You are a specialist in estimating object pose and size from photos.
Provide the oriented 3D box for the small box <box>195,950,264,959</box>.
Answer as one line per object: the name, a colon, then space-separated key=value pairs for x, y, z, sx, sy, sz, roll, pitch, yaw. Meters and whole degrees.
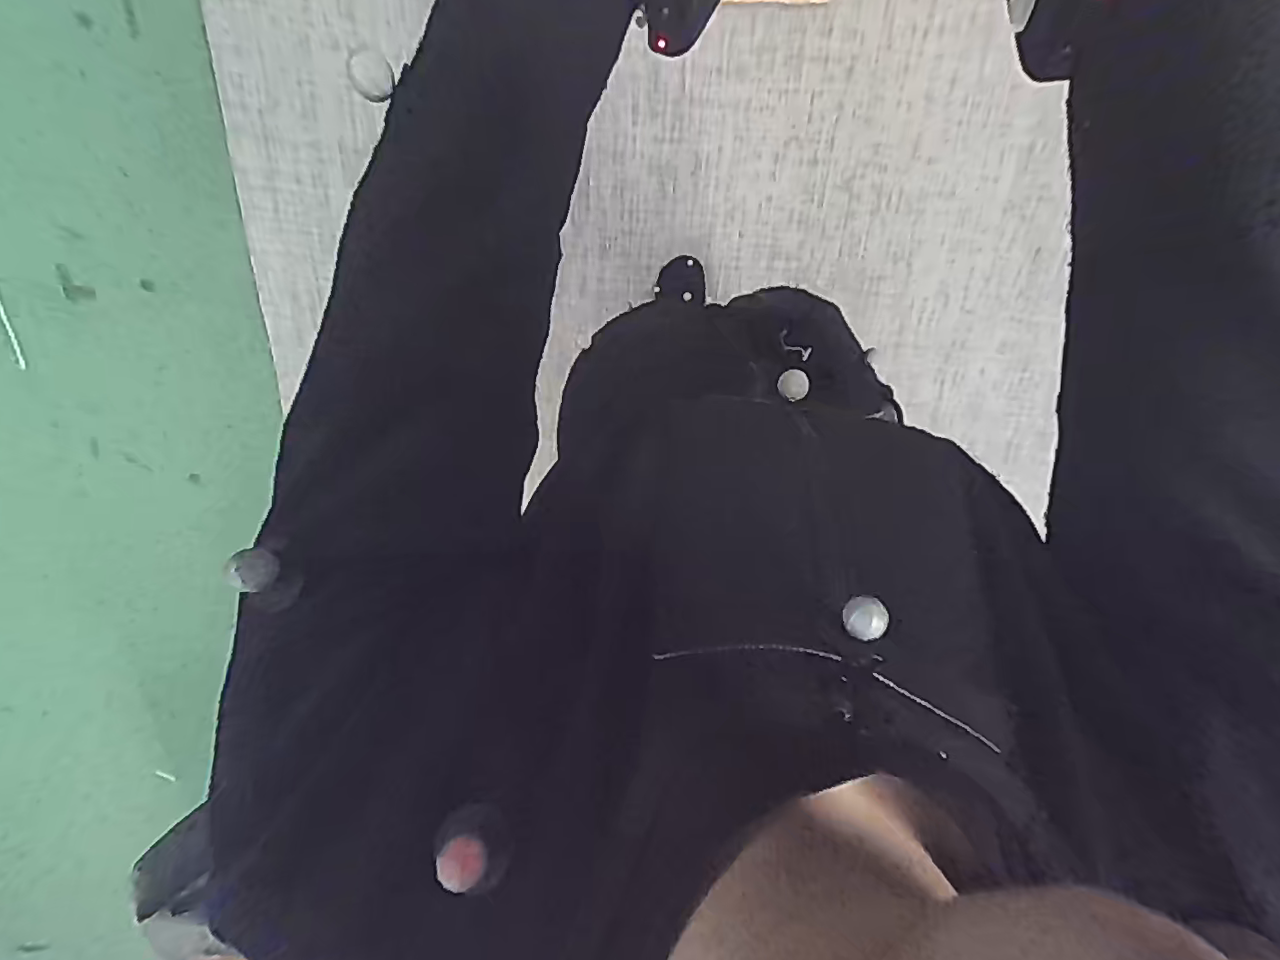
small box: x=-0.776 y=1.008 z=0.987 sx=0.179 sy=0.176 sz=0.168 roll=10 pitch=111 yaw=0
